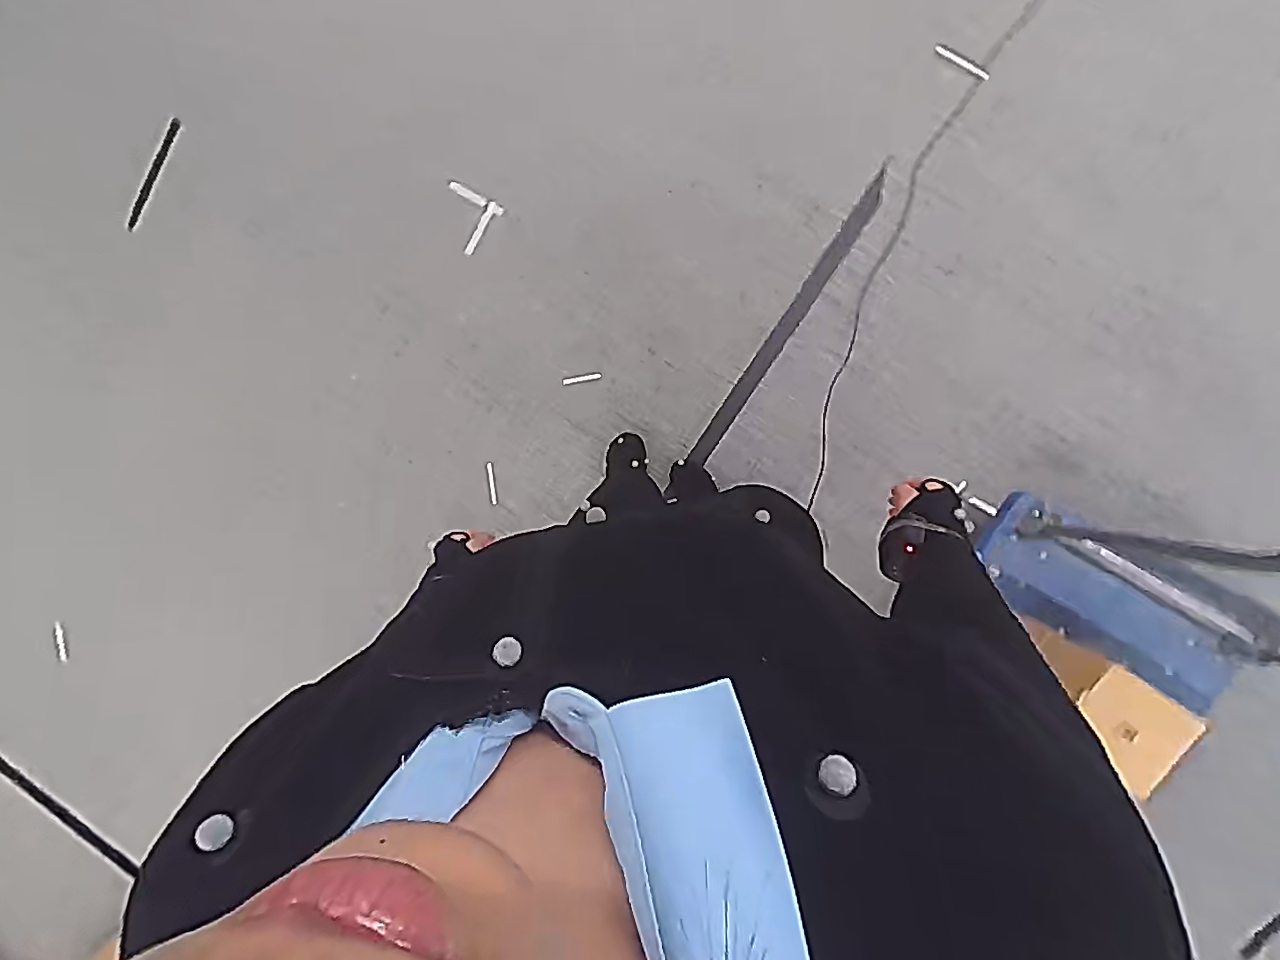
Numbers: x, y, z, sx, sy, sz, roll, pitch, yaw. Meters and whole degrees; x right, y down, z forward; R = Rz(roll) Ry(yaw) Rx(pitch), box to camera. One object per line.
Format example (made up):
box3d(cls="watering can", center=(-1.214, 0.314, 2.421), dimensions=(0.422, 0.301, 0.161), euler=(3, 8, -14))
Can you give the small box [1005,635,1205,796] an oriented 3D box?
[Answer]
box3d(cls="small box", center=(0.821, 0.410, 0.977), dimensions=(0.179, 0.176, 0.168), euler=(33, 97, 5))
